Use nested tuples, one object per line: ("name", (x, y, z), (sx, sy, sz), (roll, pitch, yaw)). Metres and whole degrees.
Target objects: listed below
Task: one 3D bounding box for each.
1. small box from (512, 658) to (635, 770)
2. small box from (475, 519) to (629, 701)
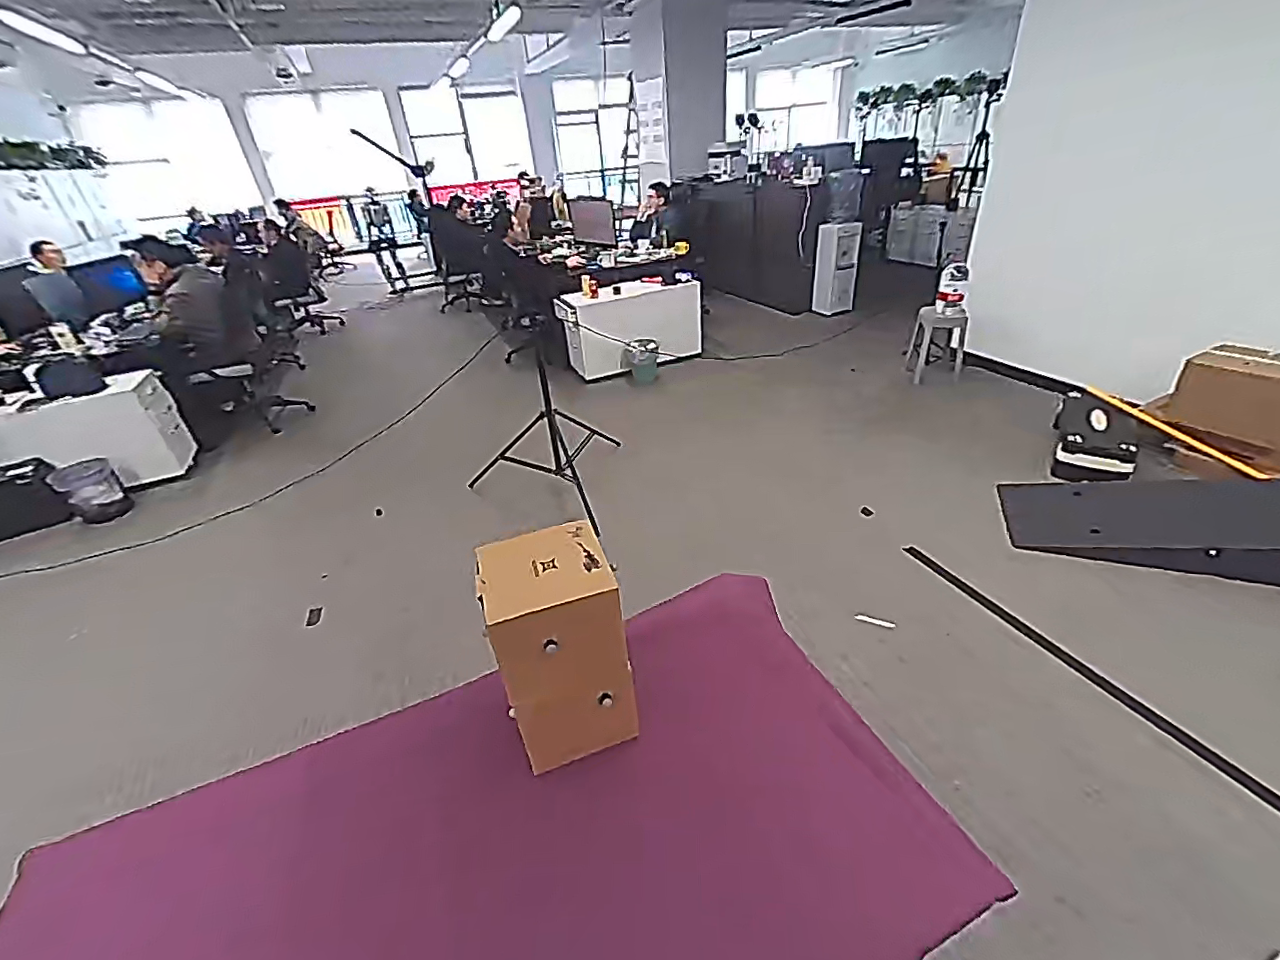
("small box", (-0.113, 0.326, 0.875), (0.179, 0.176, 0.168), (-15, 34, -14))
("small box", (-0.127, 0.188, 0.788), (0.179, 0.176, 0.168), (-15, 34, -13))
